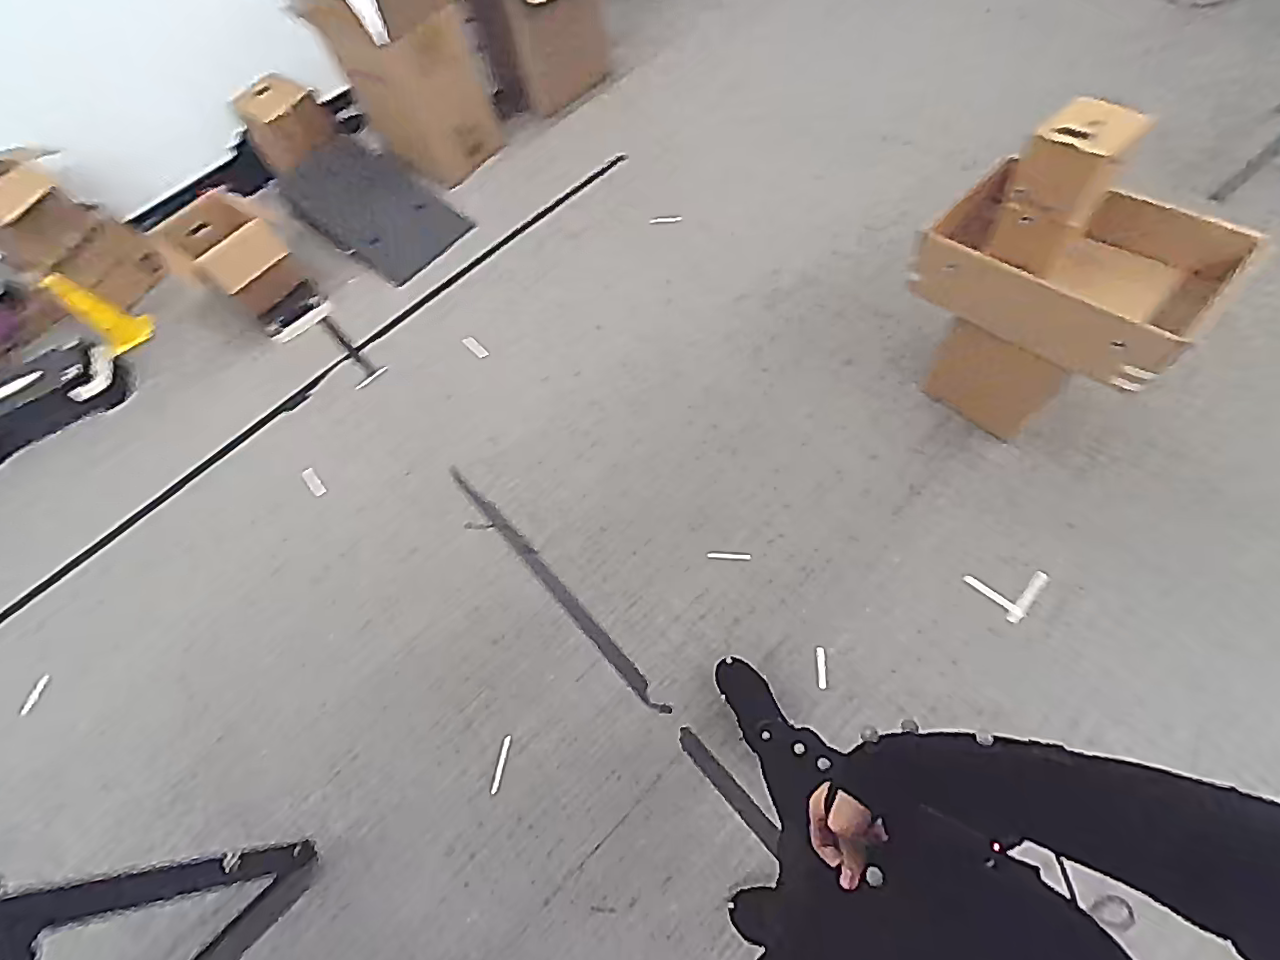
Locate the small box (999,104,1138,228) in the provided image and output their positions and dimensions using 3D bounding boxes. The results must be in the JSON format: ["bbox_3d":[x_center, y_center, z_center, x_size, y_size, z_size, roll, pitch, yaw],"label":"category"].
[{"bbox_3d":[0.990,-0.733,1.272,0.179,0.176,0.168,-39,63,-12],"label":"small box"}]

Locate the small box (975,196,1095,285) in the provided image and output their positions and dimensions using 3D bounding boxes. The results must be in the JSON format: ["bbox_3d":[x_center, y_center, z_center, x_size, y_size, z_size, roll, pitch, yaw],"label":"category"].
[{"bbox_3d":[1.018,-0.651,1.413,0.168,0.176,0.179,38,74,26],"label":"small box"}]
